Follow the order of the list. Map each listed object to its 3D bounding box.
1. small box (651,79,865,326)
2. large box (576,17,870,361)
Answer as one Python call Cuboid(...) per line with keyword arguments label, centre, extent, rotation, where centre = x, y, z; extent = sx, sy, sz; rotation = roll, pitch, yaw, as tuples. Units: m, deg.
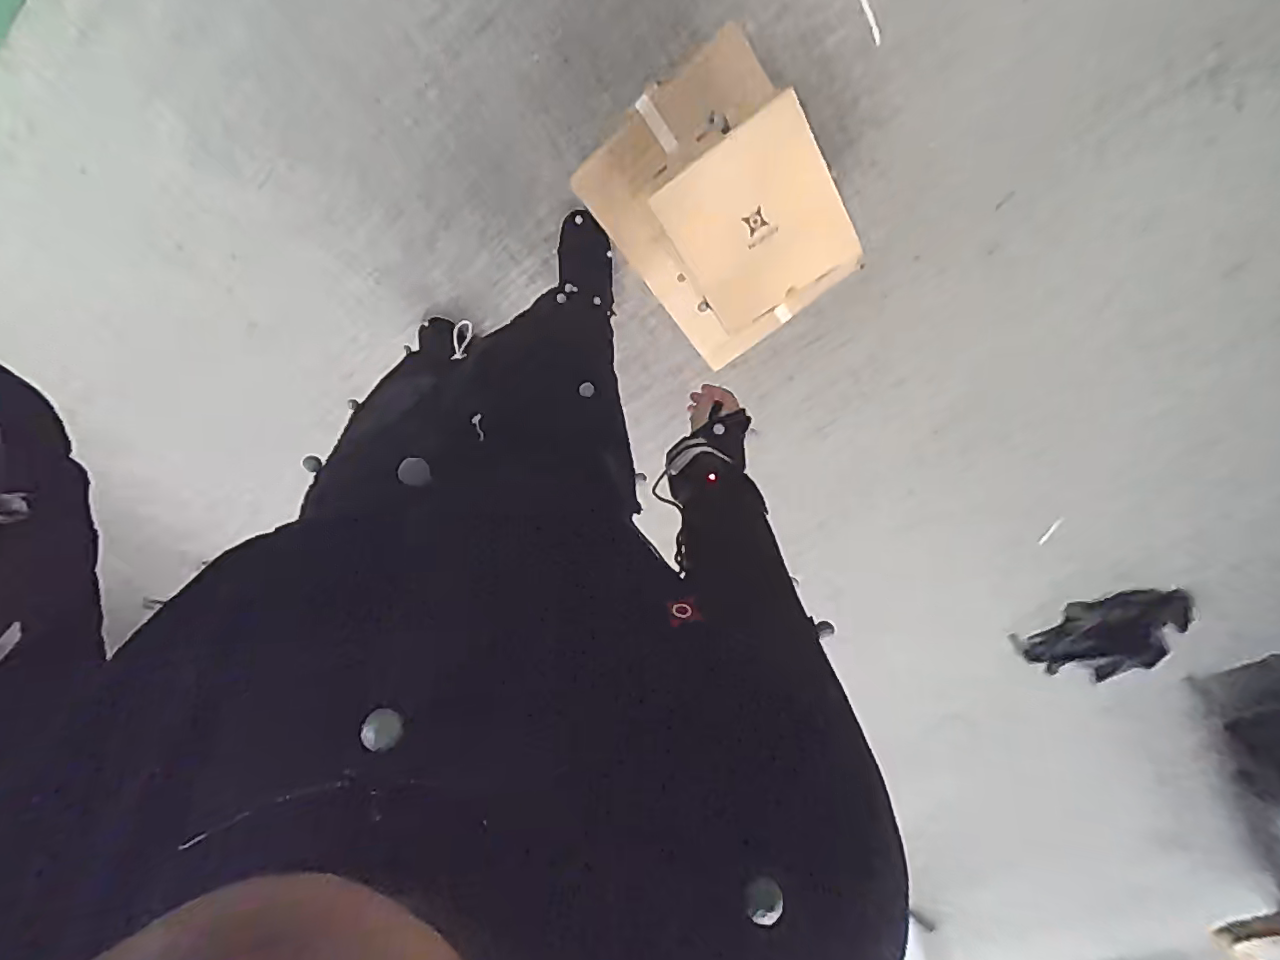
Cuboid(label="small box", centre=(0.123, -0.315, 0.624), extent=(0.168, 0.176, 0.179), rotation=(-31, 119, 18))
Cuboid(label="large box", centre=(0.137, -0.505, 0.986), extent=(0.320, 0.320, 0.408), rotation=(-34, 118, 21))
